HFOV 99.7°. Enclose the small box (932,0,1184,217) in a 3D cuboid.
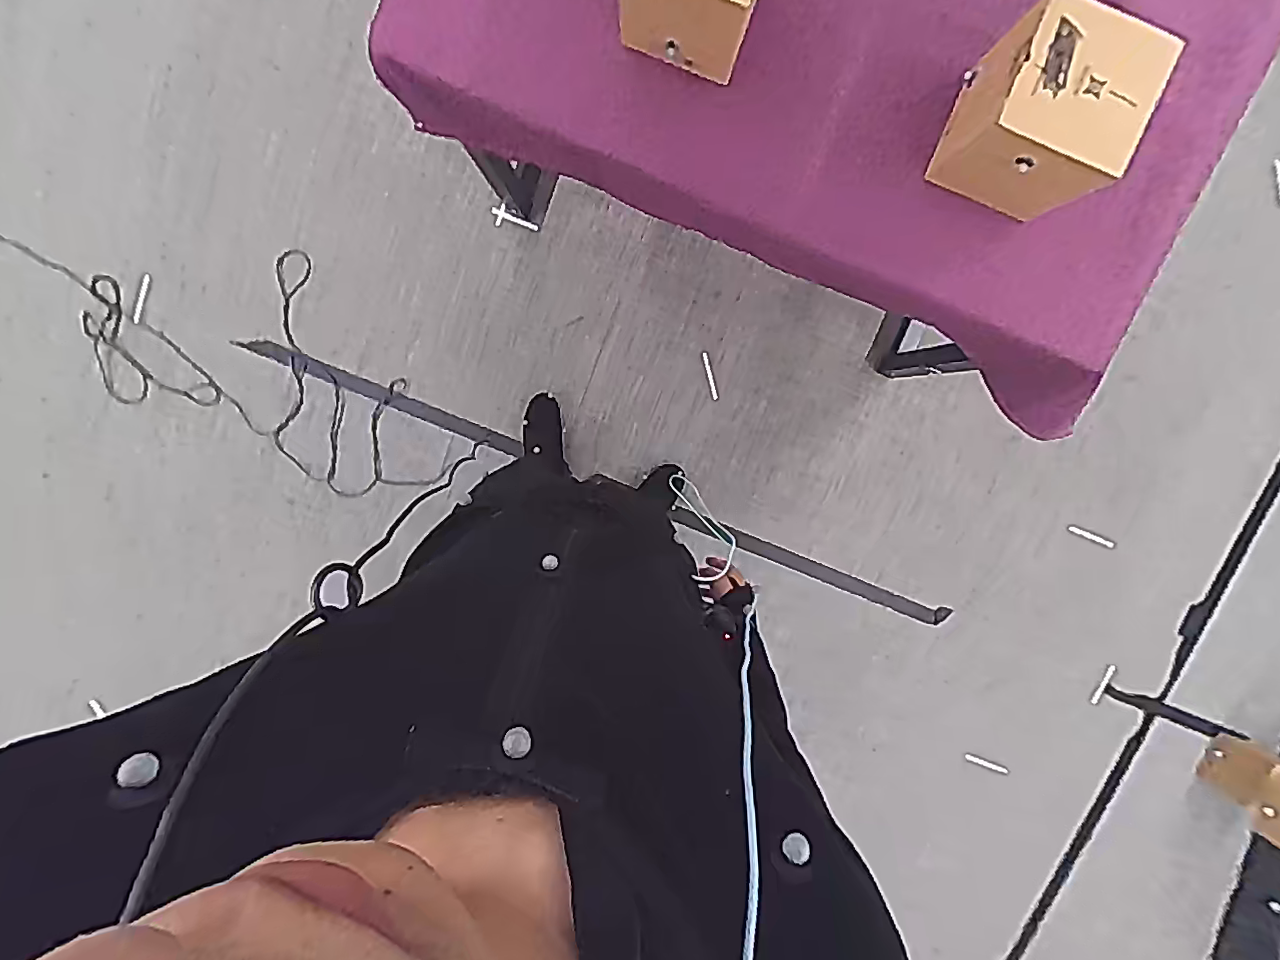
[{"bbox_3d":[0.538,-0.484,0.727,0.179,0.176,0.168,21,98,-4],"label":"small box"}]
